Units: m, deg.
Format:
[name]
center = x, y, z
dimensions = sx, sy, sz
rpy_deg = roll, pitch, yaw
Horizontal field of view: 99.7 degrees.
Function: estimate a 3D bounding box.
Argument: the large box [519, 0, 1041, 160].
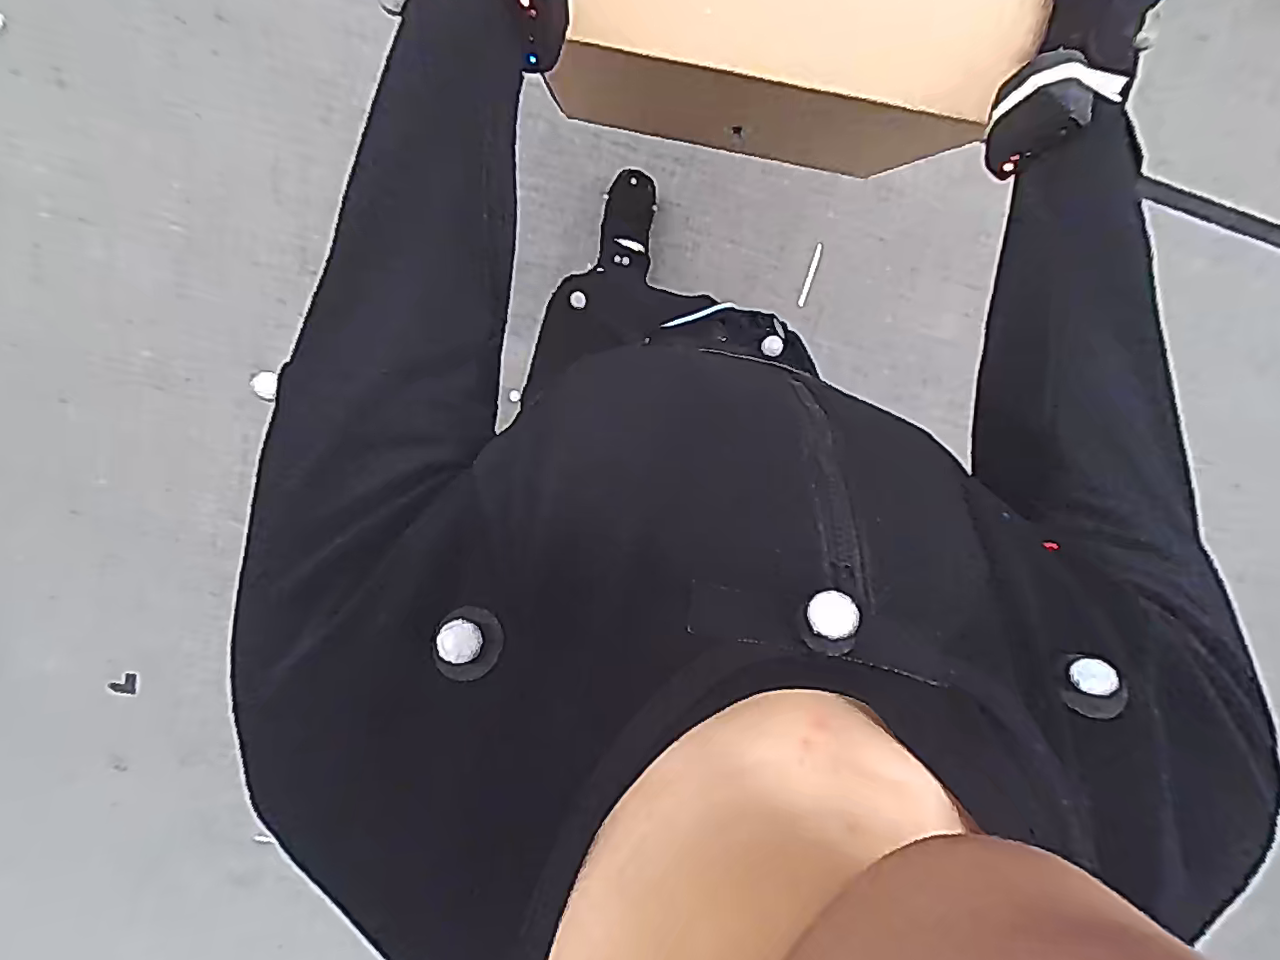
[large box]
center = 0.128, -0.527, 0.510
dimensions = 0.408, 0.320, 0.320
rpy_deg = 10, 111, -4
